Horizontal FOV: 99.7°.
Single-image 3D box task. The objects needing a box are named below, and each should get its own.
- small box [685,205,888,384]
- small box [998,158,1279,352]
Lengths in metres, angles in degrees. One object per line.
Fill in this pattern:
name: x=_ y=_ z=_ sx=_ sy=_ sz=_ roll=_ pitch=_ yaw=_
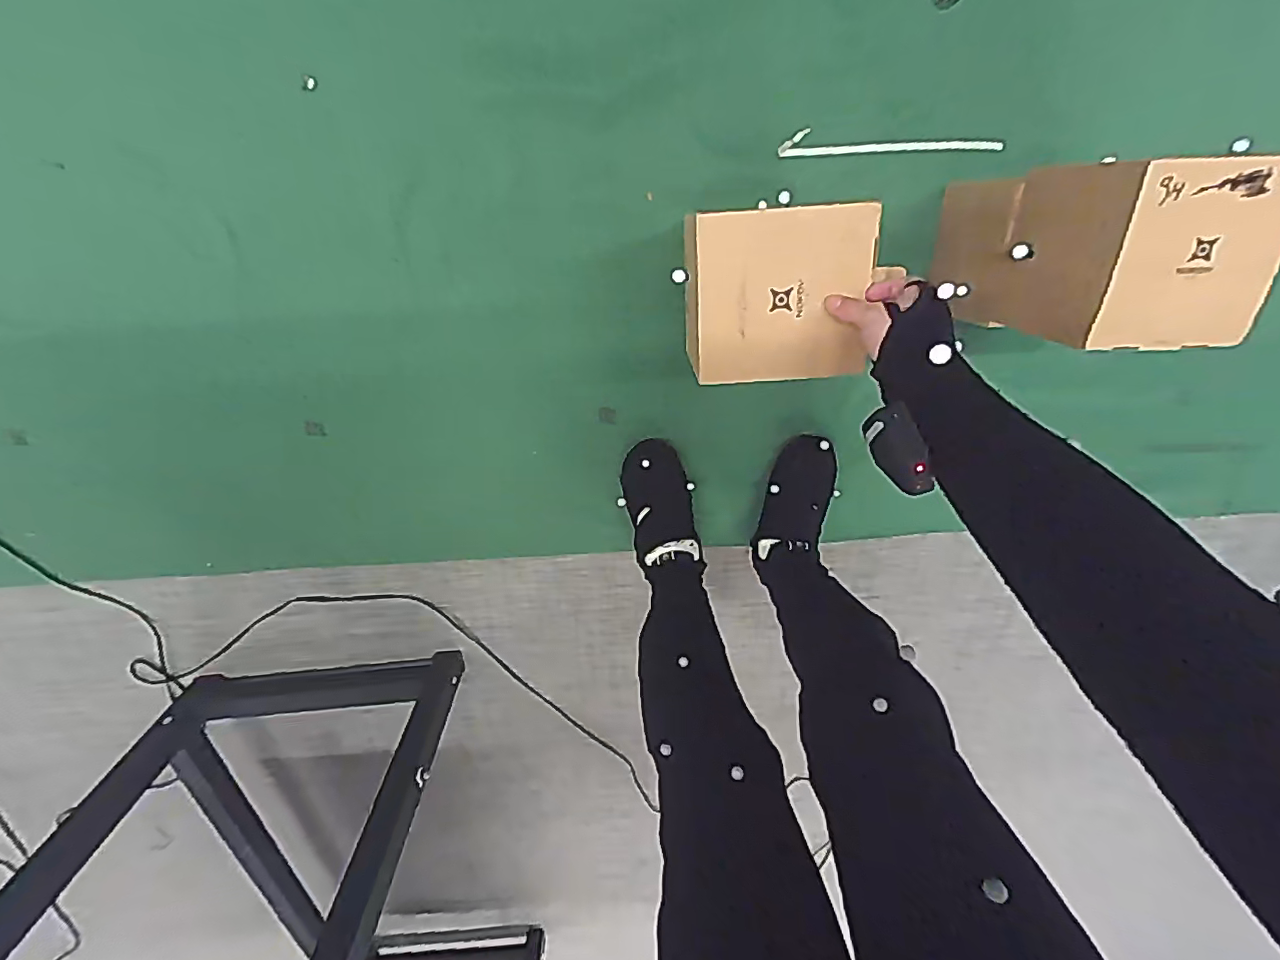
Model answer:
small box: x=0.145 y=-0.212 z=0.604 sx=0.179 sy=0.176 sz=0.168 roll=-3 pitch=115 yaw=1
small box: x=0.536 y=-0.249 z=0.592 sx=0.168 sy=0.176 sz=0.179 roll=-2 pitch=118 yaw=-2
